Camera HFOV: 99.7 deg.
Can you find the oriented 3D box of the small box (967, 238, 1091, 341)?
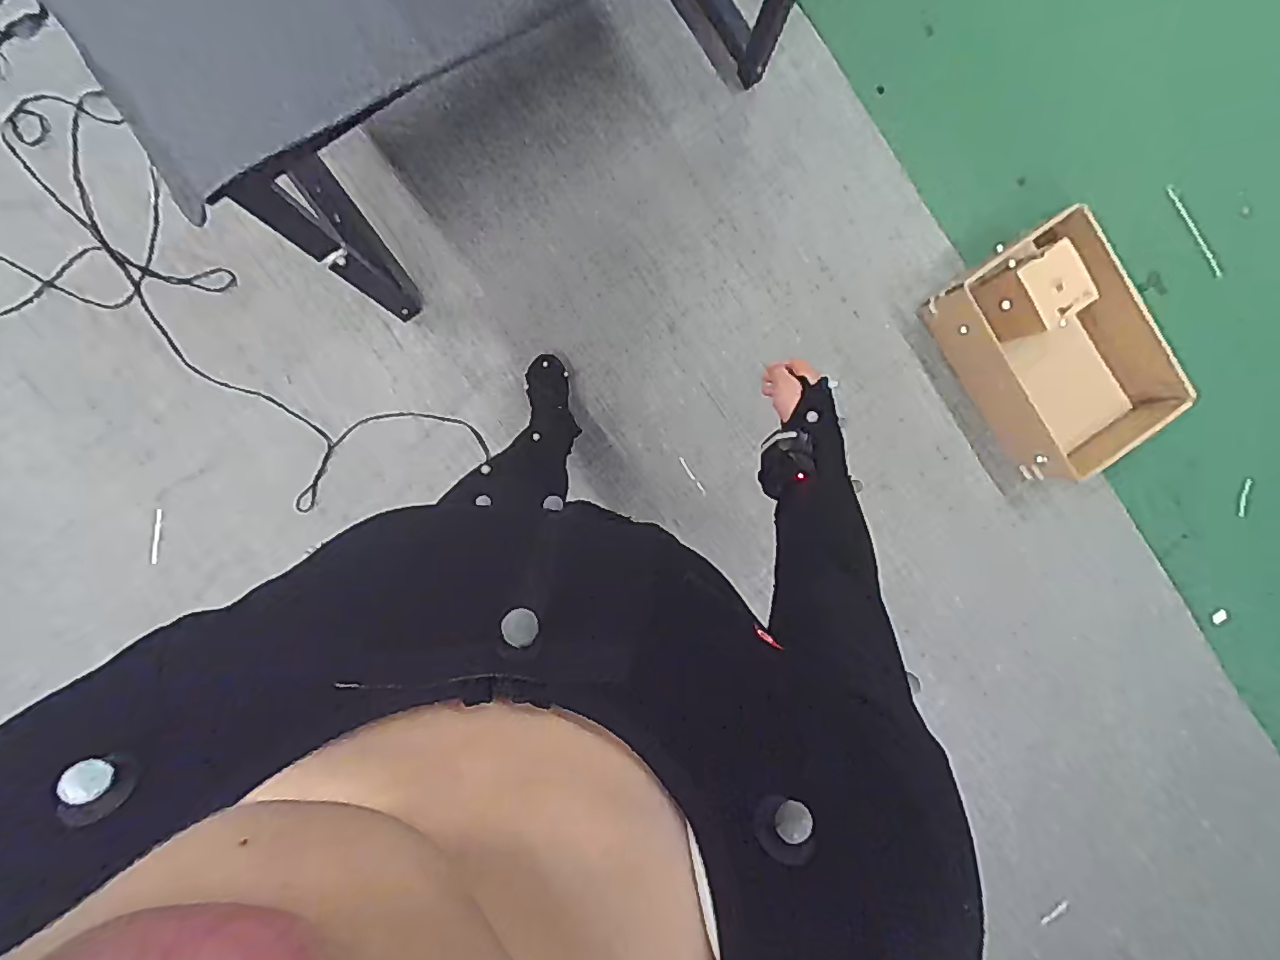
[{"bbox_3d":[1.020,-0.495,1.434,0.168,0.176,0.179,-34,95,-2],"label":"small box"}]
